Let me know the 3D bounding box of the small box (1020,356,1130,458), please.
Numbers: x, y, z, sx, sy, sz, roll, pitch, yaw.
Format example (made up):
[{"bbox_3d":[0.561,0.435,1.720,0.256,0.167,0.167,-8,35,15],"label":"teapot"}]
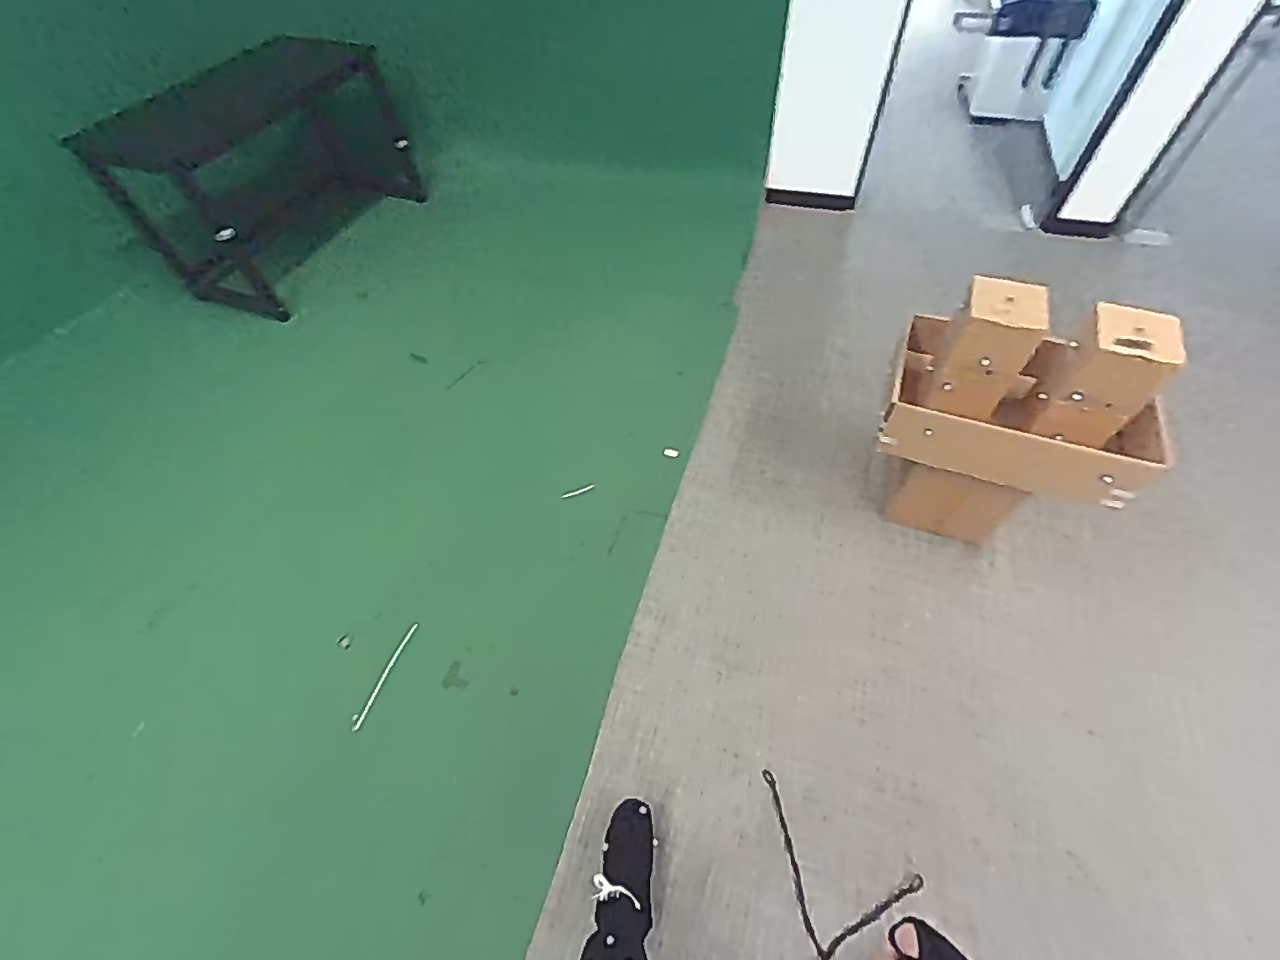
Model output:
[{"bbox_3d":[1.121,-0.189,1.406,0.168,0.176,0.179,18,58,15],"label":"small box"}]

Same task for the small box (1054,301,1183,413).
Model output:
[{"bbox_3d":[1.114,-0.285,1.273,0.168,0.176,0.179,19,58,16],"label":"small box"}]

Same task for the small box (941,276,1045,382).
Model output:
[{"bbox_3d":[0.875,-0.376,1.349,0.168,0.176,0.179,16,57,15],"label":"small box"}]
